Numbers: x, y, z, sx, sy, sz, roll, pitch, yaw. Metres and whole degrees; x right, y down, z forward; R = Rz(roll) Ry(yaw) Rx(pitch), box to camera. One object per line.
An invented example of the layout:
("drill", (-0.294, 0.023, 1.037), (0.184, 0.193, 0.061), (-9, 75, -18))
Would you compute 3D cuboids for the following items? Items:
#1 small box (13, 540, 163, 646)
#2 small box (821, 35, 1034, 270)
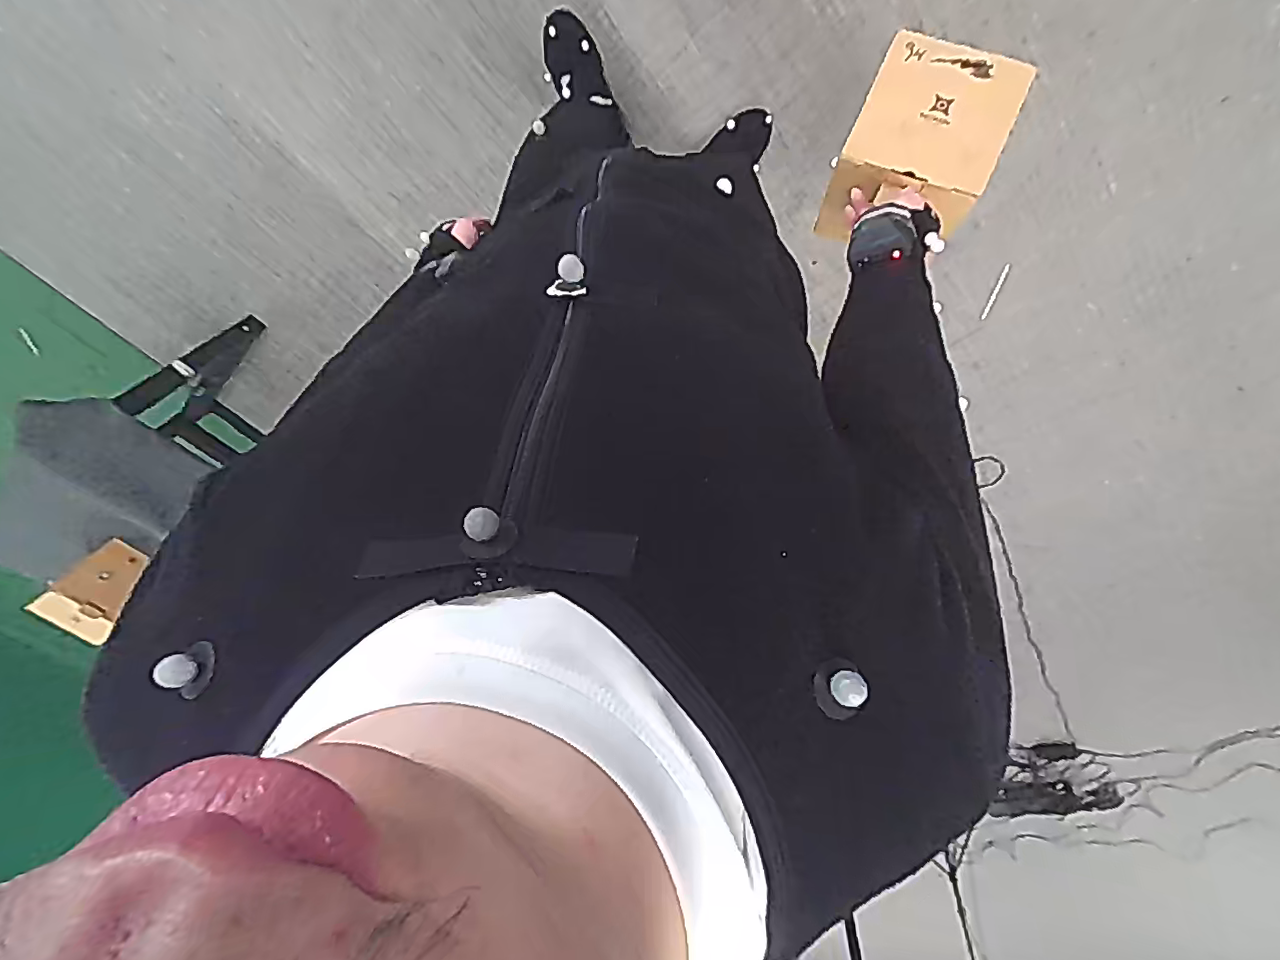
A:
("small box", (-1.316, 0.270, 1.304), (0.179, 0.176, 0.168), (-21, 121, 26))
("small box", (0.351, -0.408, 0.702), (0.168, 0.179, 0.176), (25, 175, 10))
